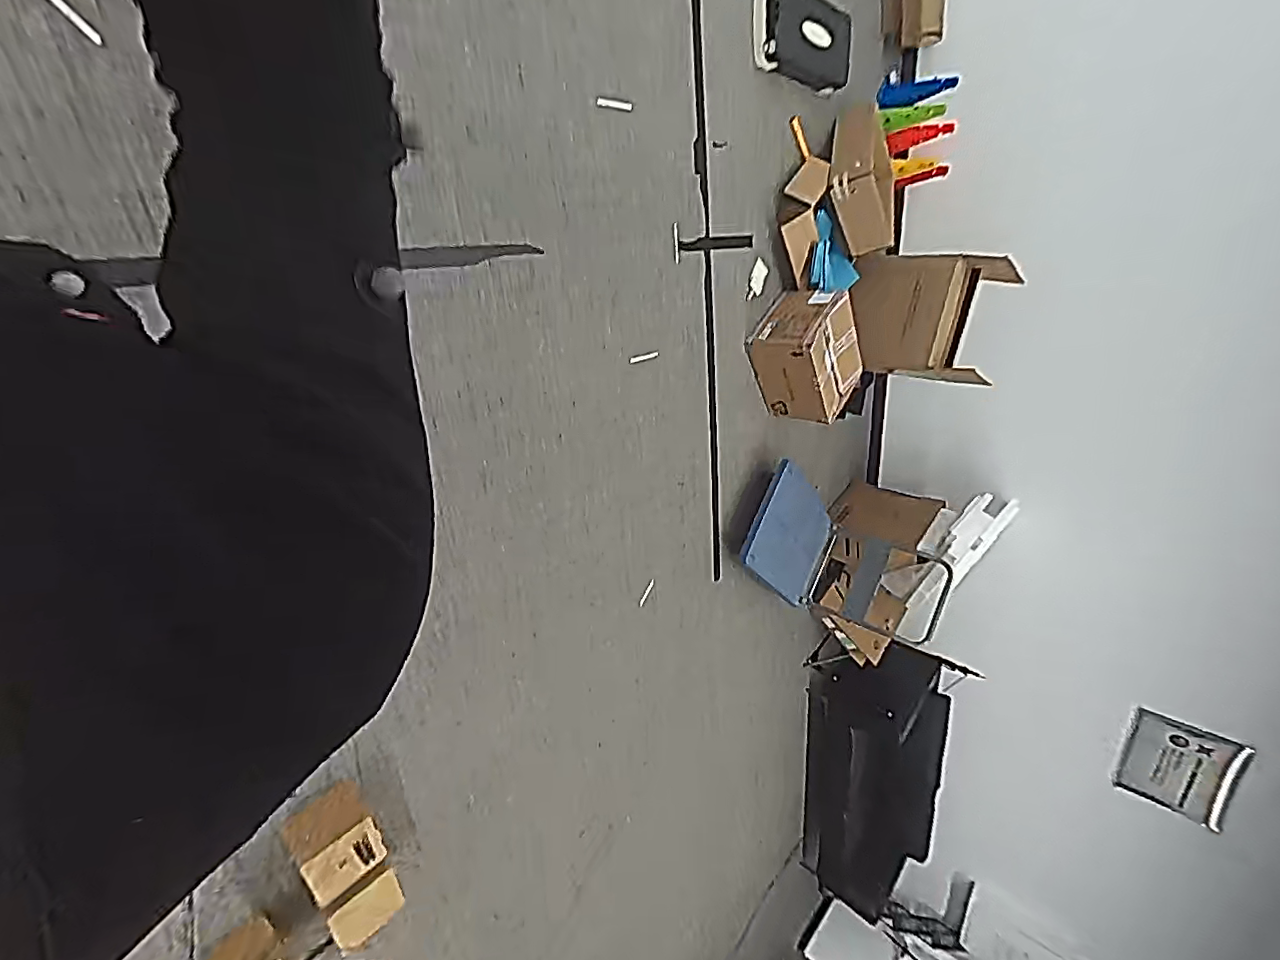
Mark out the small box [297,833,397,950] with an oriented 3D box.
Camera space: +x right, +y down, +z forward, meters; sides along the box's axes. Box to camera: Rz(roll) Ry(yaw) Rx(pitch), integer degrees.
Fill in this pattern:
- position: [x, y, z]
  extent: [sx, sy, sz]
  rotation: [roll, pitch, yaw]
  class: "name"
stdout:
- position: [-0.817, 1.155, 1.515]
  extent: [0.179, 0.176, 0.168]
  rotation: [-25, 121, -42]
  class: "small box"
